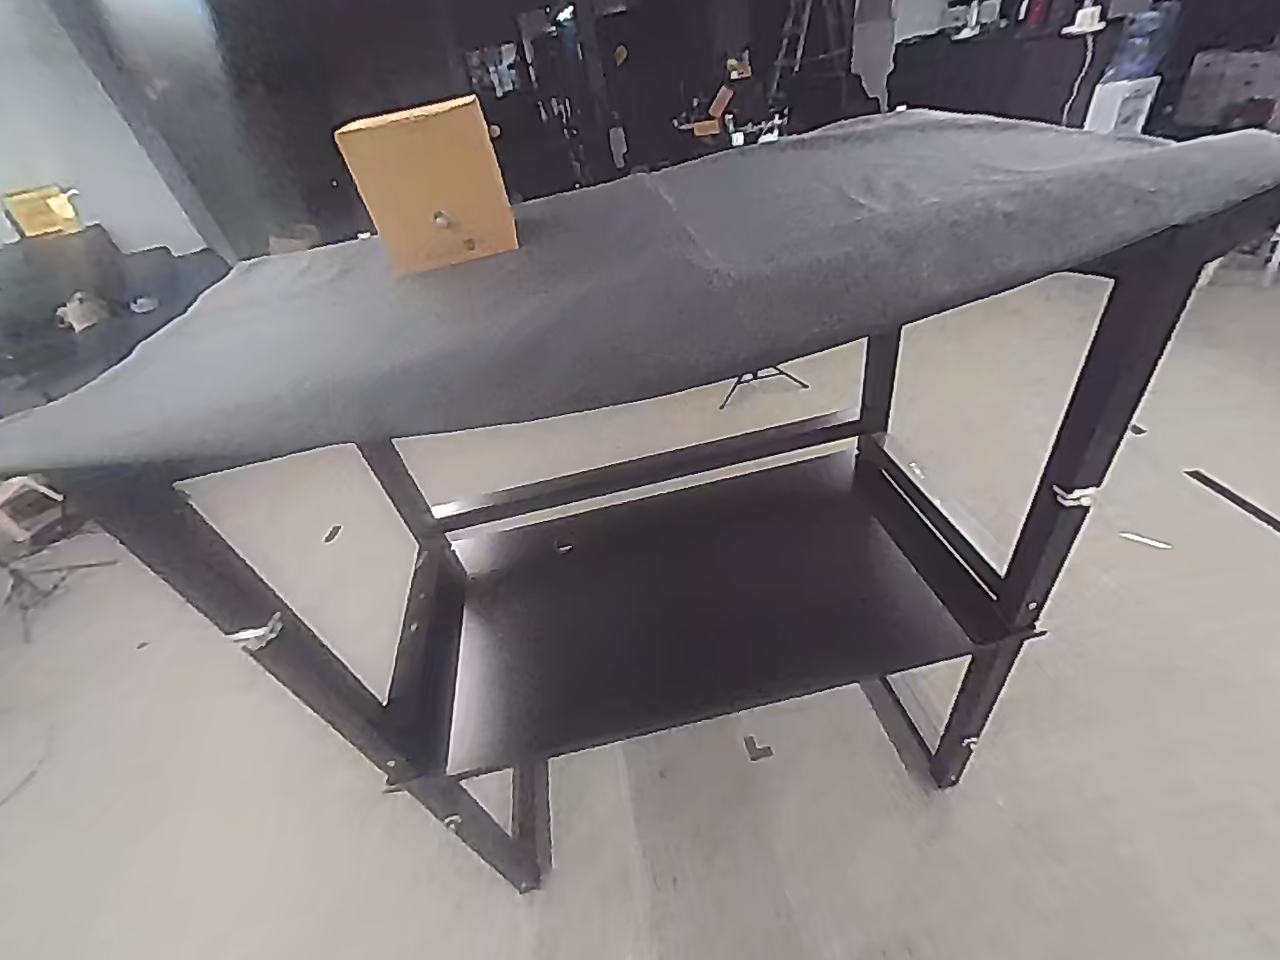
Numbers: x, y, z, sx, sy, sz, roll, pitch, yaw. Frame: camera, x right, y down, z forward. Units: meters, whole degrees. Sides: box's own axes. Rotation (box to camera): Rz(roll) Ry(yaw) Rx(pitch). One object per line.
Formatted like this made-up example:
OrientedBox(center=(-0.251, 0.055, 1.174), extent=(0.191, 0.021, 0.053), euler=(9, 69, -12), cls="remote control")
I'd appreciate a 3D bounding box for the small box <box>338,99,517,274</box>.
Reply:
OrientedBox(center=(-0.272, -0.400, 0.738), extent=(0.168, 0.176, 0.179), euler=(-15, 40, -3), cls="small box")
